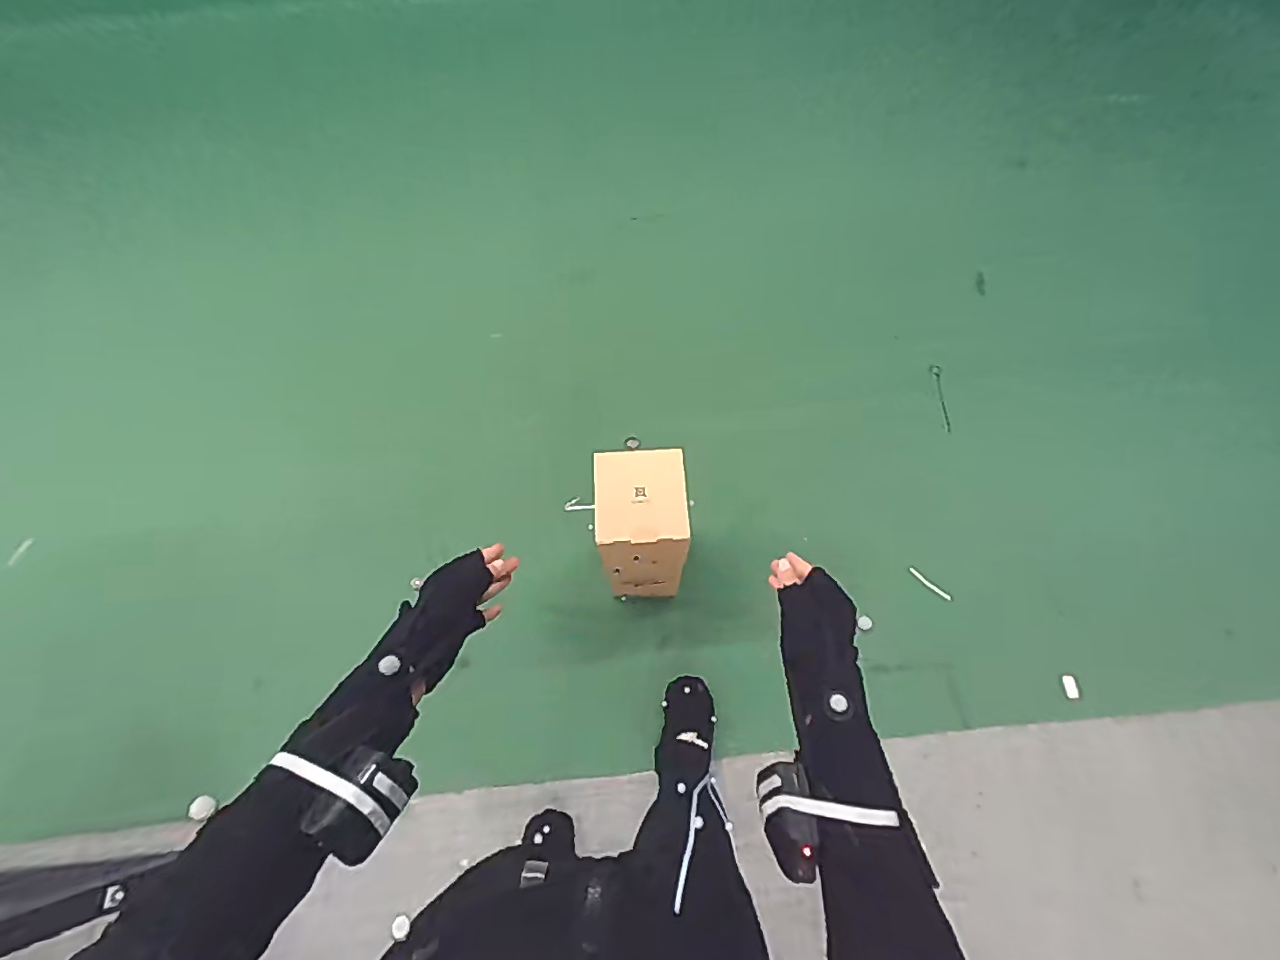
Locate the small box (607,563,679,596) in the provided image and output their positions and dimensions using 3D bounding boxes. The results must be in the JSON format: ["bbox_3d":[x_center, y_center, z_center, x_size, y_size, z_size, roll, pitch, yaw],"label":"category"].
[{"bbox_3d":[0.005,0.187,1.332,0.168,0.176,0.179,-4,69,-1],"label":"small box"}]

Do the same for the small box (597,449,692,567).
[{"bbox_3d":[0.004,0.057,1.031,0.168,0.176,0.179,-3,67,-2],"label":"small box"}]
